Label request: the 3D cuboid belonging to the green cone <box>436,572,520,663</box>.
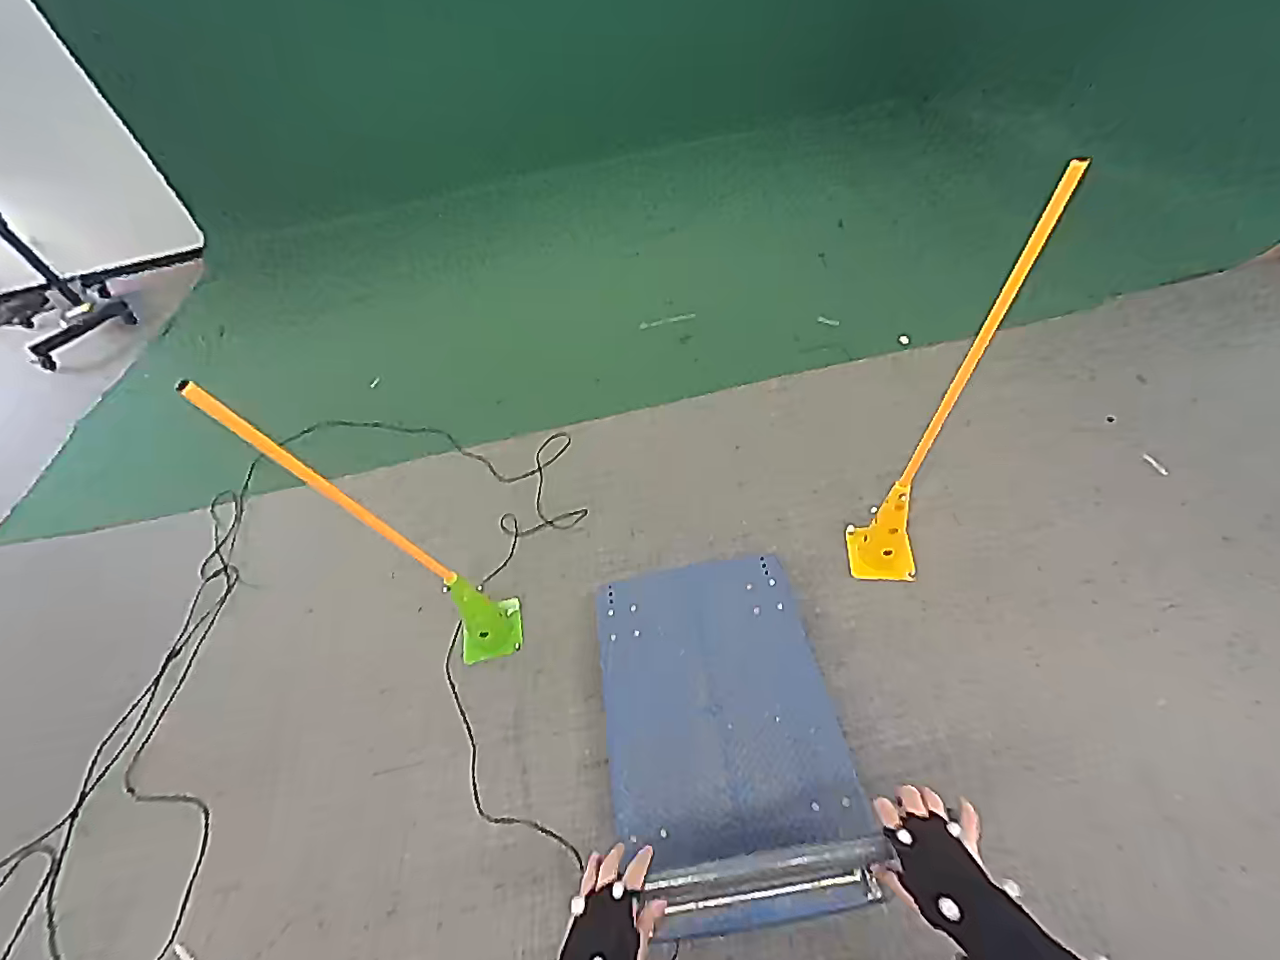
[{"bbox_3d":[-0.534,0.391,1.692,0.202,0.368,0.200,-16,48,-1],"label":"green cone"}]
